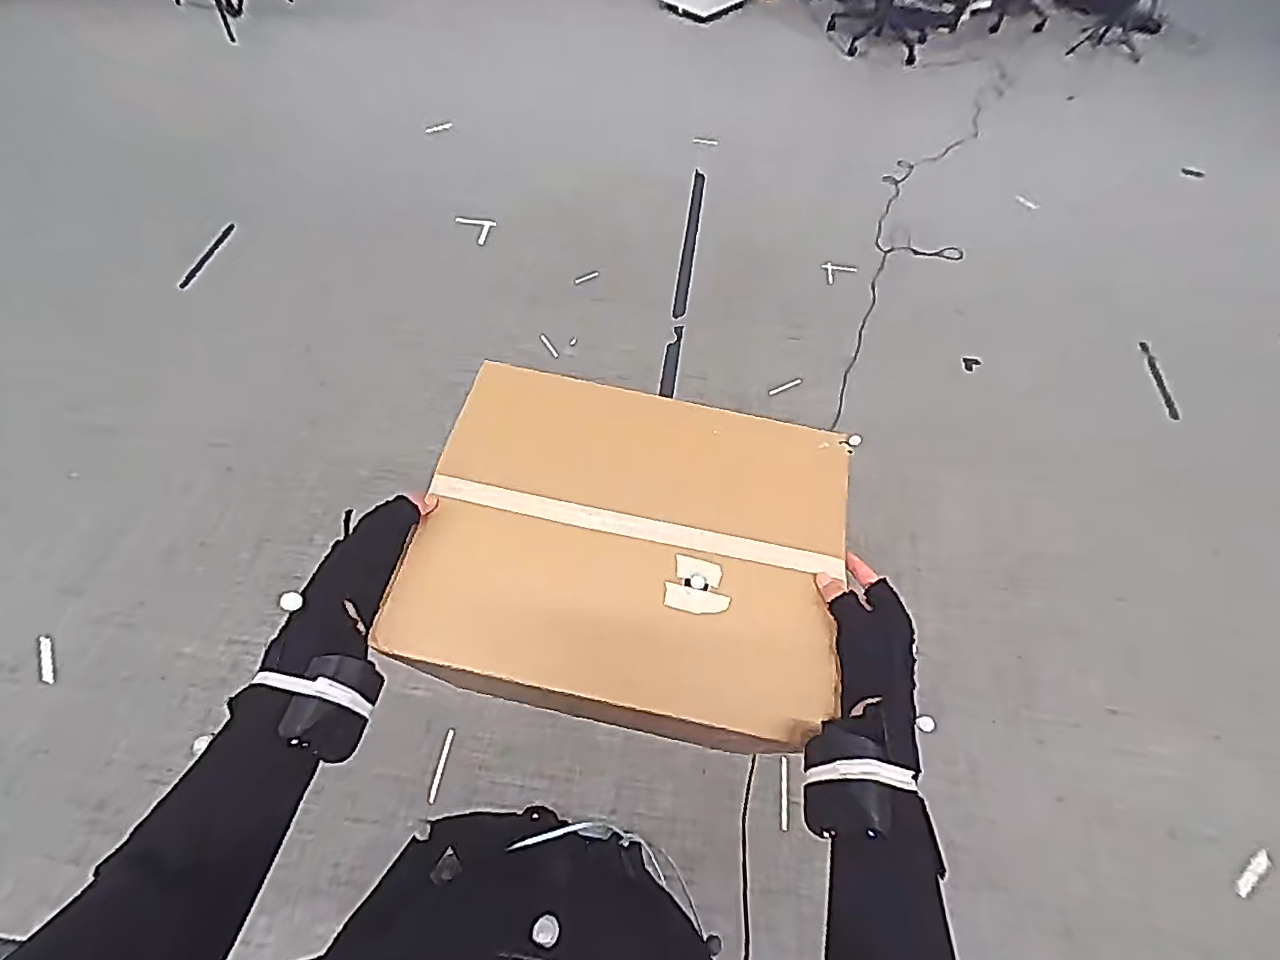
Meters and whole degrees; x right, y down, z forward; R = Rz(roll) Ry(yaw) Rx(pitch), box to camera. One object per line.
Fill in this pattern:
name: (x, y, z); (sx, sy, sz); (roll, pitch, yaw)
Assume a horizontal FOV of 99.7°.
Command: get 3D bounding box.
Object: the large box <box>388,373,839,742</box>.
large box: (-0.014, 0.116, 0.665); (0.408, 0.320, 0.320); (12, 64, 1)
